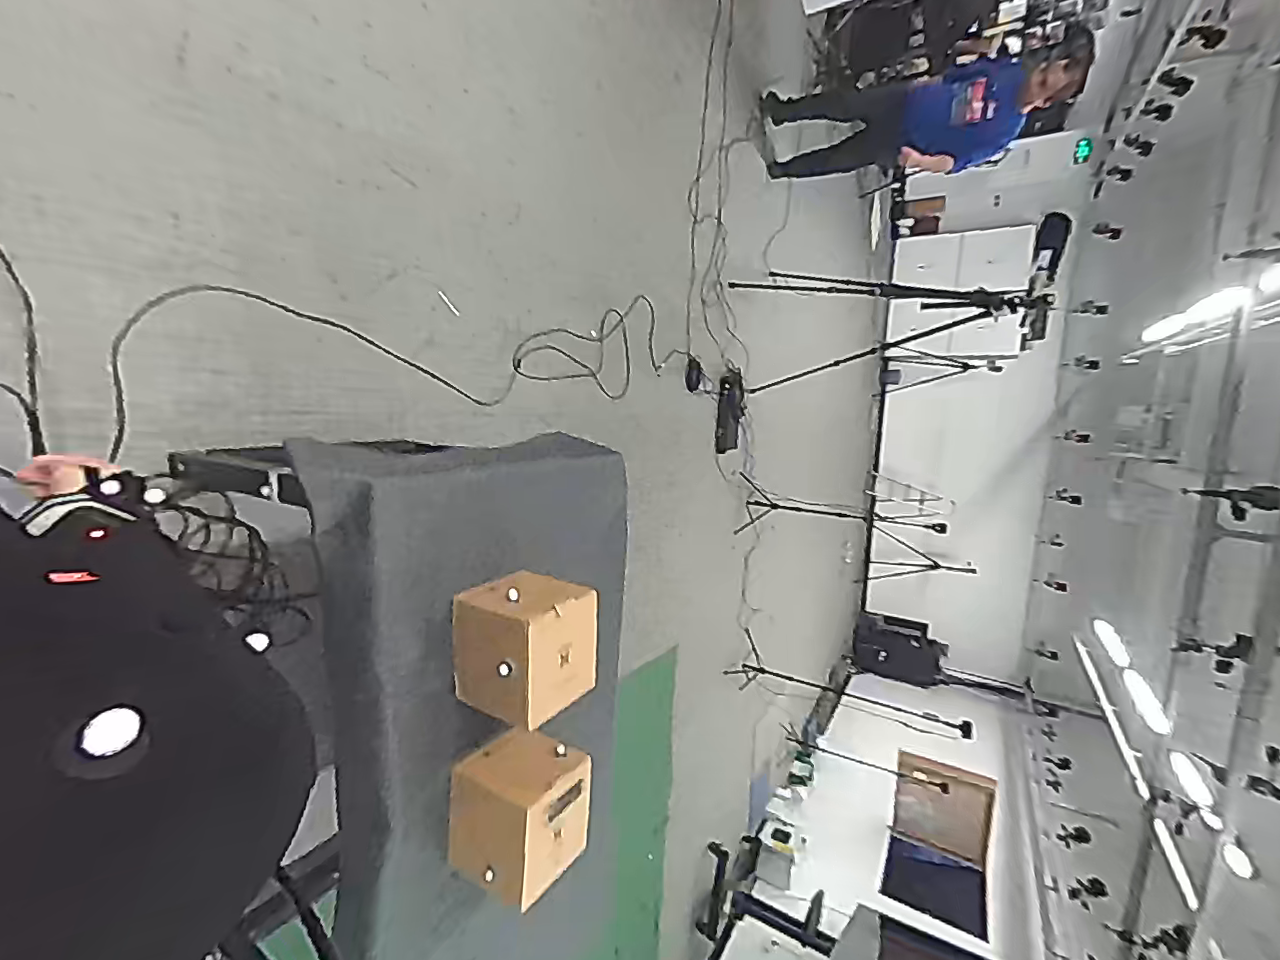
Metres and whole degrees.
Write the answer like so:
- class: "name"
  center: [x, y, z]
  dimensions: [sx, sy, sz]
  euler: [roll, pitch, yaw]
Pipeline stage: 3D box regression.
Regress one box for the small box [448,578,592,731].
- class: "small box"
  center: [-0.197, 0.269, 0.889]
  dimensions: [0.168, 0.176, 0.179]
  euler: [-12, 107, -57]
